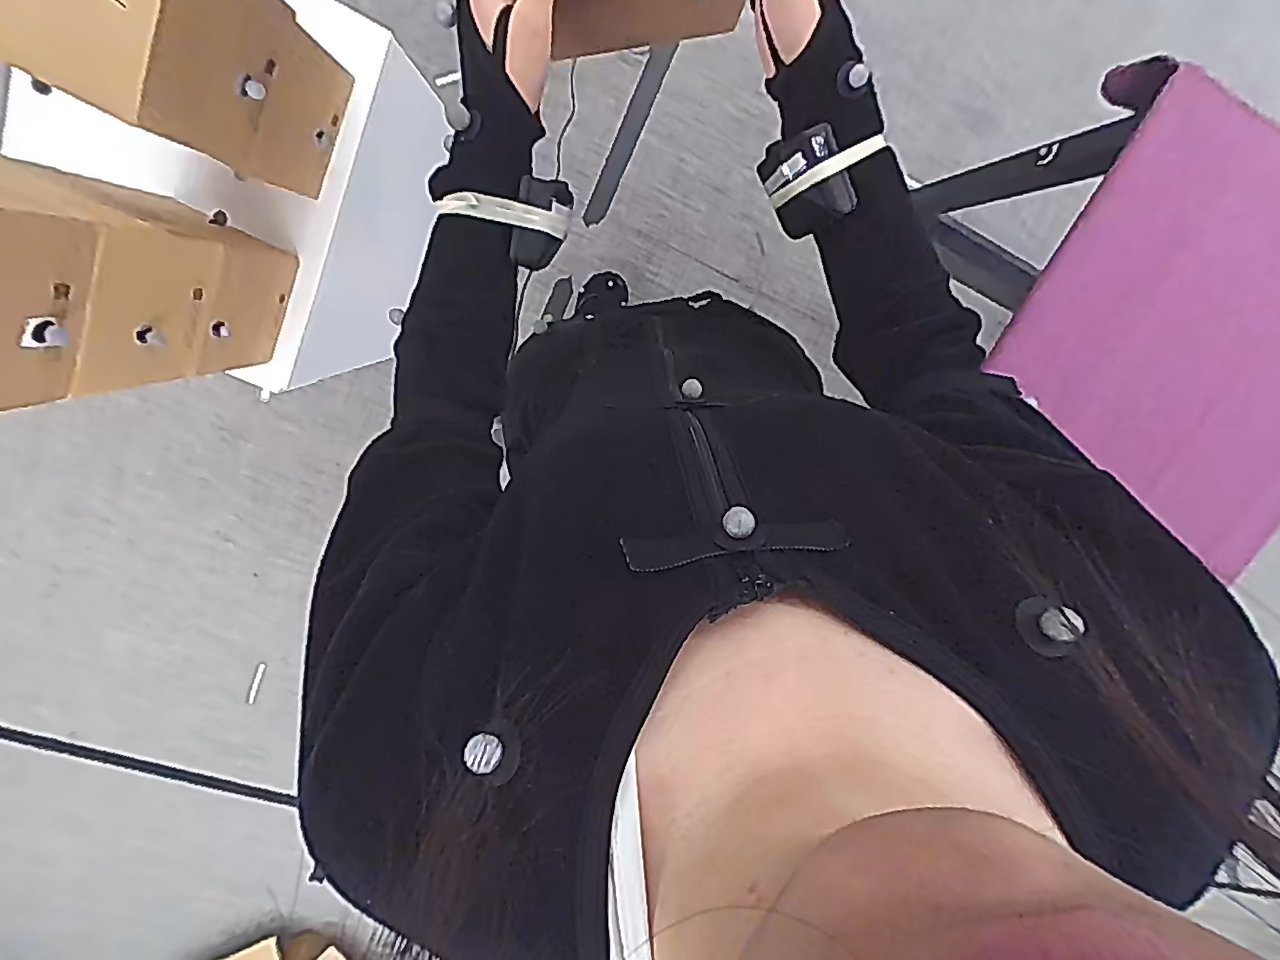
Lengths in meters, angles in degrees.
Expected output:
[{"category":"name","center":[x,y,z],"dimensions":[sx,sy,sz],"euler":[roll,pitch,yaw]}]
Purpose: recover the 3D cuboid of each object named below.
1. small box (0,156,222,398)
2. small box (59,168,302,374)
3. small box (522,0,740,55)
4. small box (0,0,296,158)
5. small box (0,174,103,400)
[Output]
[{"category":"small box","center":[-0.562,-0.202,0.530],"dimensions":[0.179,0.176,0.168],"euler":[22,105,-11]},{"category":"small box","center":[-0.577,-0.252,0.683],"dimensions":[0.179,0.176,0.168],"euler":[24,105,-11]},{"category":"small box","center":[-0.009,-0.424,0.362],"dimensions":[0.179,0.176,0.168],"euler":[-8,109,2]},{"category":"small box","center":[-0.447,-0.413,0.468],"dimensions":[0.179,0.176,0.168],"euler":[25,105,-14]},{"category":"small box","center":[-0.549,-0.153,0.375],"dimensions":[0.179,0.176,0.168],"euler":[22,106,-12]}]
